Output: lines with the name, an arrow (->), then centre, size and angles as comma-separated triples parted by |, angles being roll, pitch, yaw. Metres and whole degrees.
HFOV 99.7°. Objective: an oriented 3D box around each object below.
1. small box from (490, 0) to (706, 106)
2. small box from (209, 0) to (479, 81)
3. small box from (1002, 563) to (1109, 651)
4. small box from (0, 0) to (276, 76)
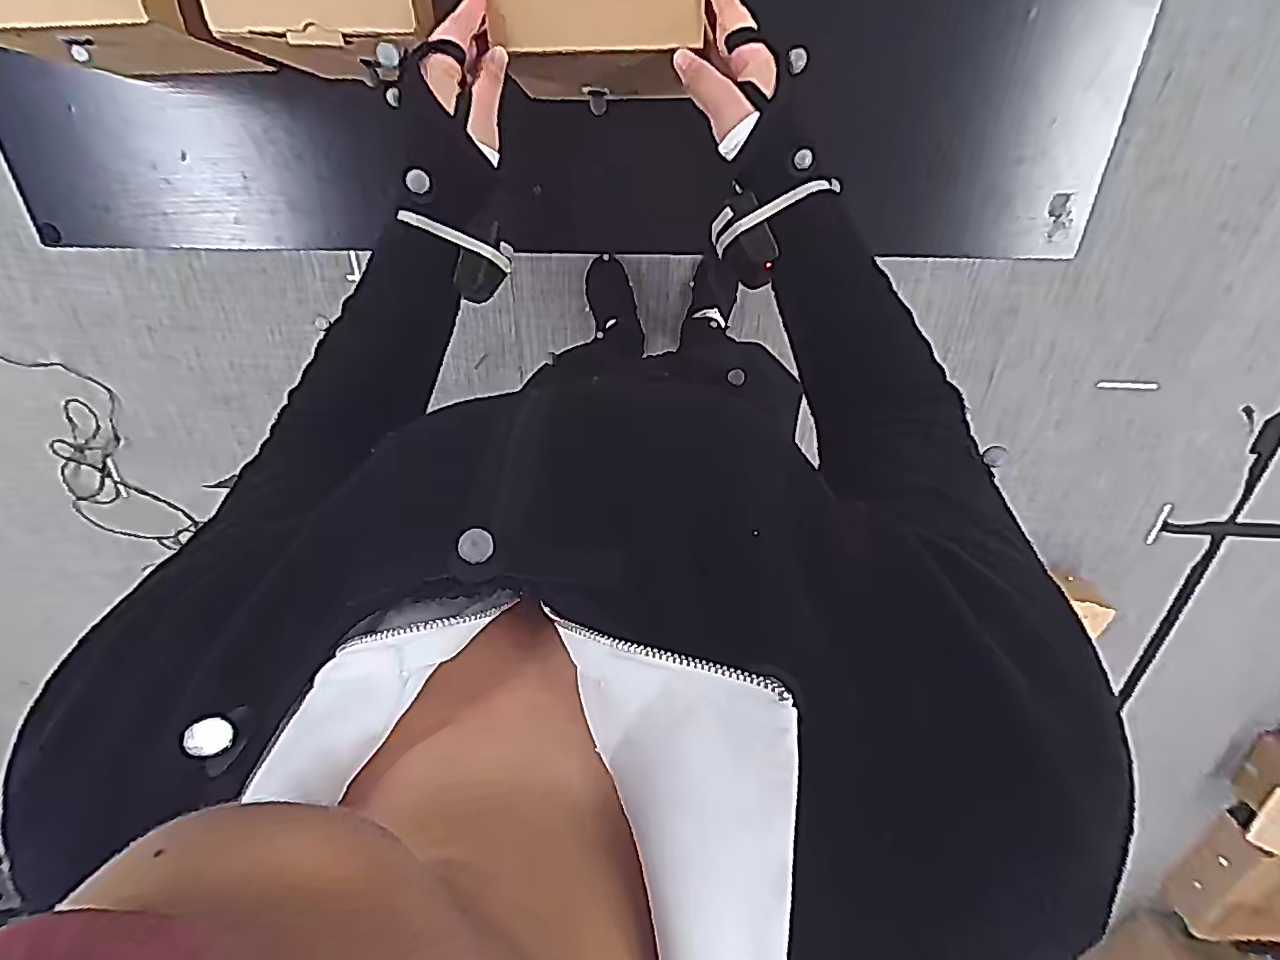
small box -> -0.030, -0.440, 0.458 | 0.168, 0.176, 0.179 | 0, 115, 3
small box -> -0.246, -0.458, 0.458 | 0.168, 0.176, 0.179 | 2, 118, 1
small box -> 1.259, 0.387, 1.660 | 0.168, 0.176, 0.179 | 14, 117, -5
small box -> -0.461, -0.463, 0.461 | 0.179, 0.176, 0.168 | -1, 117, 1
